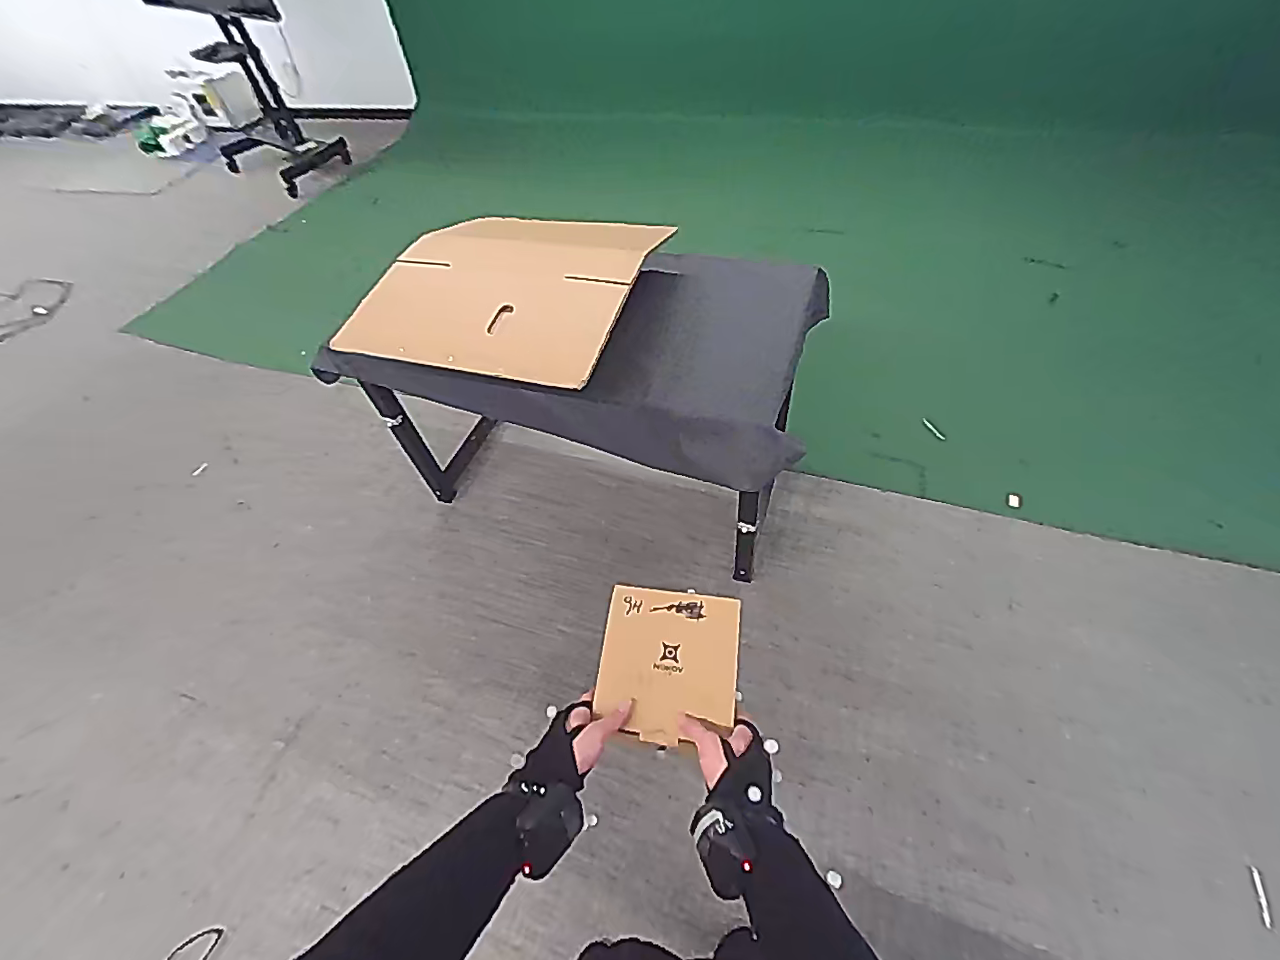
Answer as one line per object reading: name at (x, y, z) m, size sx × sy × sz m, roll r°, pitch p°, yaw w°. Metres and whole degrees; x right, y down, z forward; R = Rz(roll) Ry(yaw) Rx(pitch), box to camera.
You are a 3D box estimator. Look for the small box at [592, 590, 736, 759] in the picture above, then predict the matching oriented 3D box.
small box at (0.040, 0.265, 0.726) m, size 0.168 × 0.176 × 0.179 m, roll 3°, pitch 57°, yaw 7°
